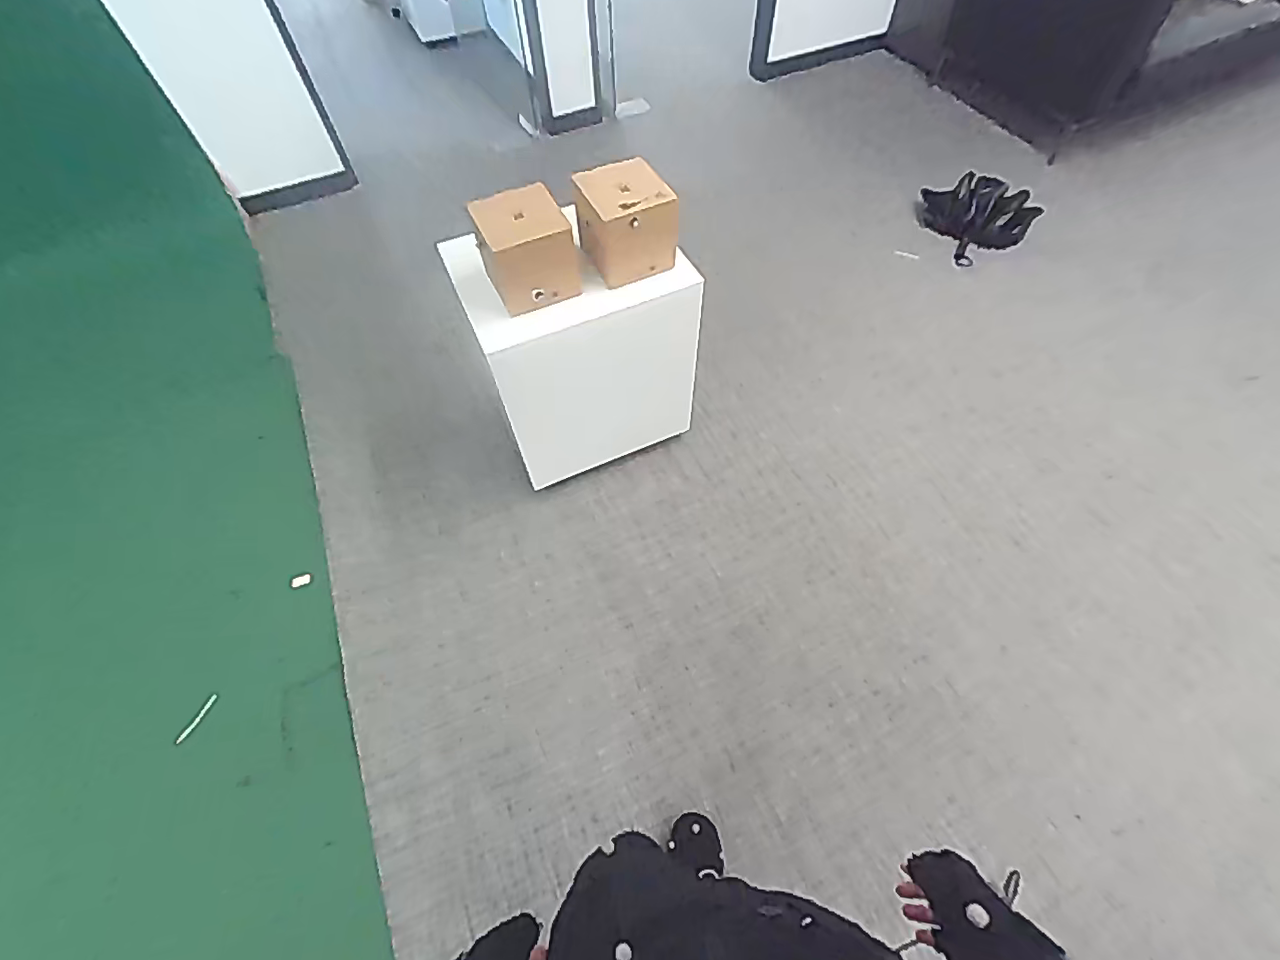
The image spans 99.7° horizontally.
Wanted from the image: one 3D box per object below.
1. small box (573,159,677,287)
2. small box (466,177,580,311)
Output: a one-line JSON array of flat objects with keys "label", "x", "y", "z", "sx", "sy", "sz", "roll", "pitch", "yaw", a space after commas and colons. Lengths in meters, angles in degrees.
[{"label": "small box", "x": -0.033, "y": -0.555, "z": 1.175, "sx": 0.168, "sy": 0.176, "sz": 0.179, "roll": -23, "pitch": 60, "yaw": -12}, {"label": "small box", "x": -0.237, "y": -0.487, "z": 1.125, "sx": 0.168, "sy": 0.176, "sz": 0.179, "roll": -25, "pitch": 63, "yaw": -12}]
